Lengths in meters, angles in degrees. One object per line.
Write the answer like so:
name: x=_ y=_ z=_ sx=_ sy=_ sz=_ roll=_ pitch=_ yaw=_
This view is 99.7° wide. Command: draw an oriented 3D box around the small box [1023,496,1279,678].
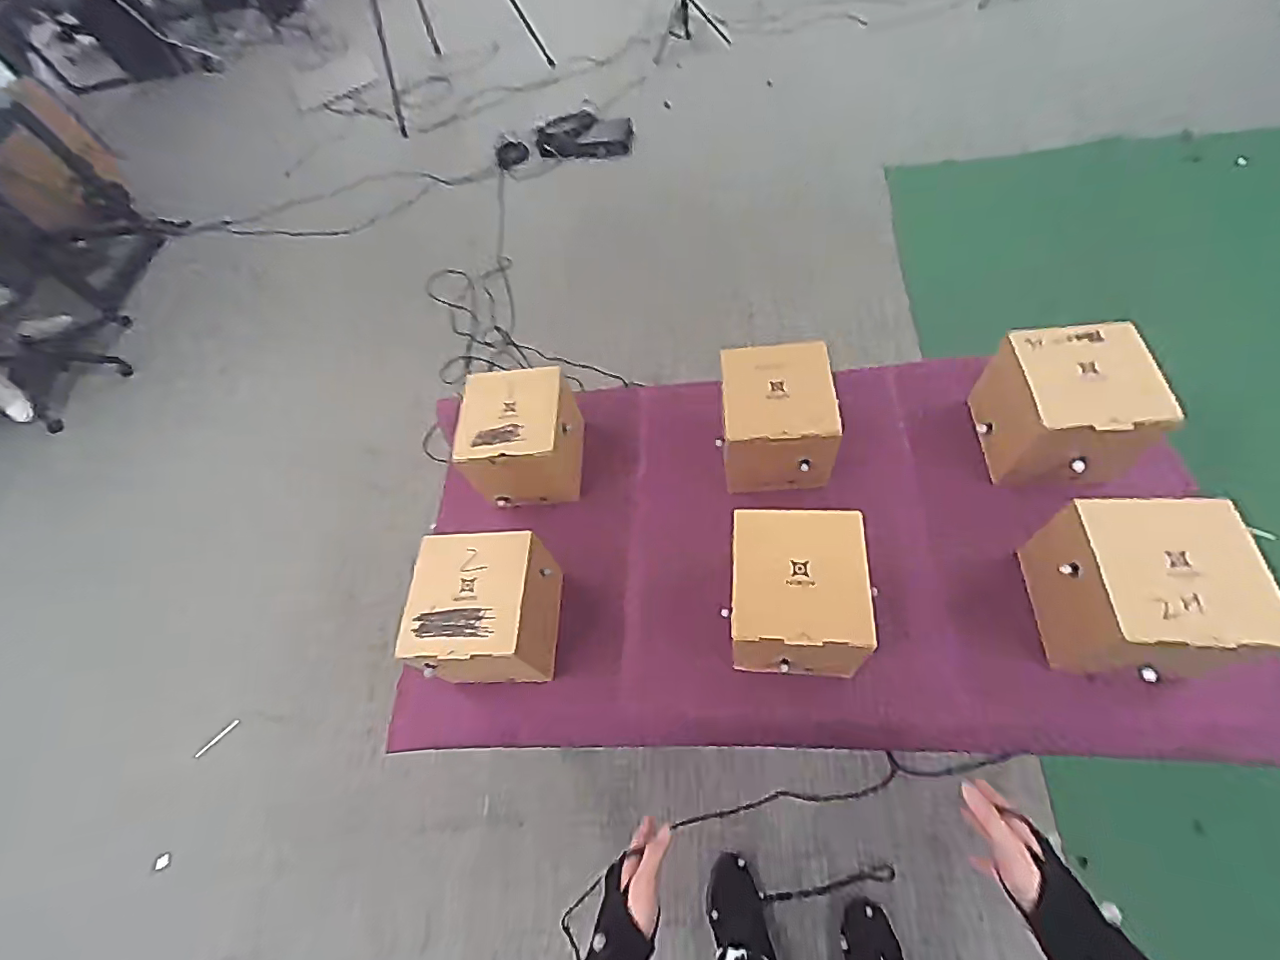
small box: x=0.616 y=0.135 z=0.673 sx=0.168 sy=0.176 sz=0.179 roll=-1 pitch=60 yaw=12

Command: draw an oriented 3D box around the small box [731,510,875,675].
small box: x=0.210 y=0.157 z=0.744 sx=0.168 sy=0.176 sz=0.179 roll=0 pitch=60 yaw=10

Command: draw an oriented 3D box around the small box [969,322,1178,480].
small box: x=0.628 y=-0.108 z=0.813 sx=0.168 sy=0.176 sz=0.179 roll=-3 pitch=61 yaw=9

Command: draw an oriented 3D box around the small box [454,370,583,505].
small box: x=-0.200 y=-0.065 z=0.946 sx=0.168 sy=0.176 sz=0.179 roll=-4 pitch=60 yaw=8

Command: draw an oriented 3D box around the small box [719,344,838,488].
small box: x=0.218 y=-0.095 z=0.886 sx=0.168 sy=0.176 sz=0.179 roll=-3 pitch=60 yaw=8
